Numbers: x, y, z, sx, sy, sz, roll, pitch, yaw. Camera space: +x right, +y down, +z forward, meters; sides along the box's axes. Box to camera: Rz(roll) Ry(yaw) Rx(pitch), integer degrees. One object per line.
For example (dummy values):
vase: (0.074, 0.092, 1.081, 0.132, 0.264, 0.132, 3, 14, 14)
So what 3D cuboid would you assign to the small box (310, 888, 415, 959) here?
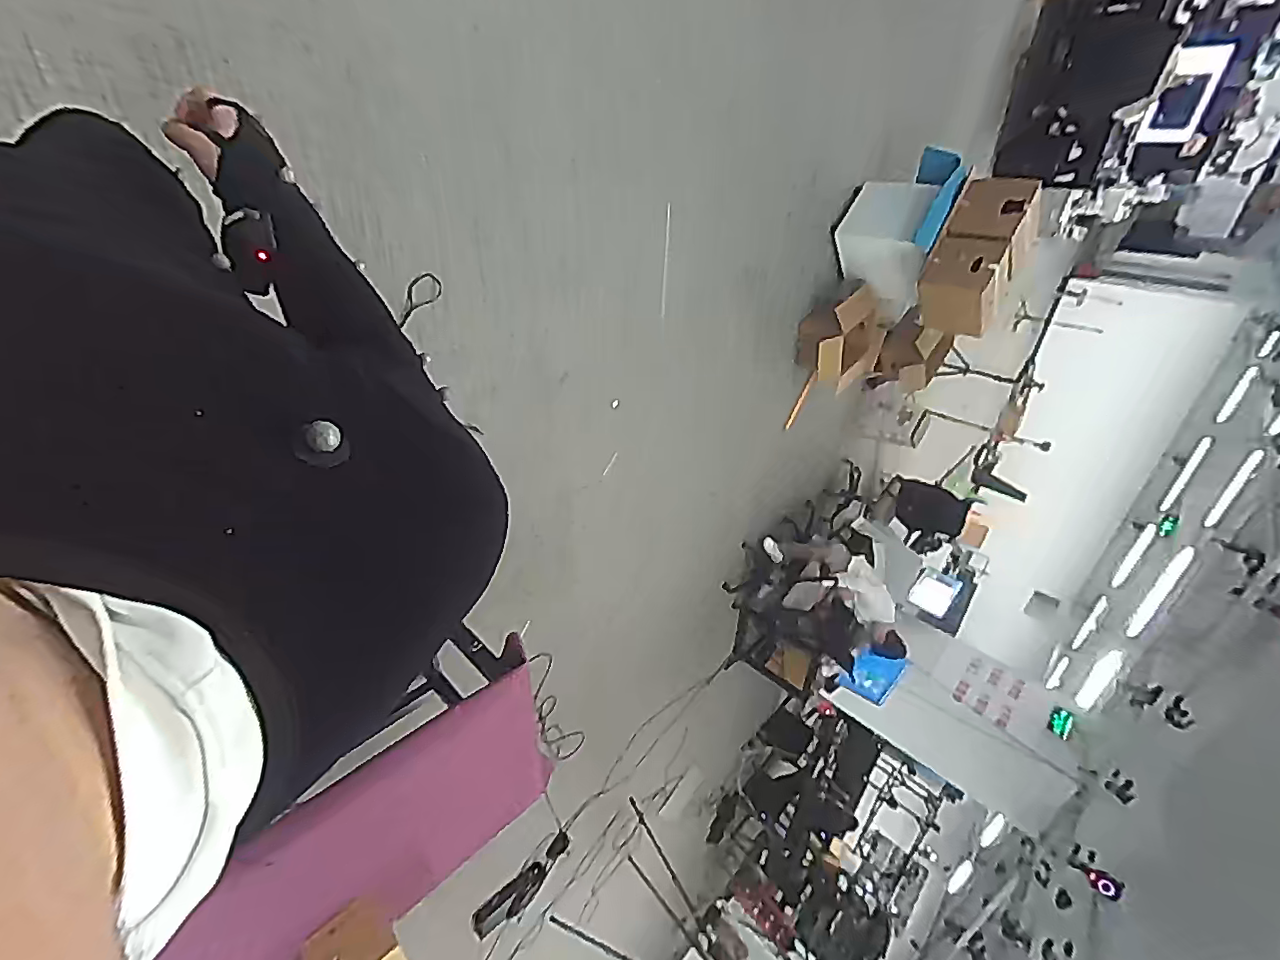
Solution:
small box: (-0.684, 1.165, 1.337, 0.168, 0.176, 0.179, -27, 132, -37)
